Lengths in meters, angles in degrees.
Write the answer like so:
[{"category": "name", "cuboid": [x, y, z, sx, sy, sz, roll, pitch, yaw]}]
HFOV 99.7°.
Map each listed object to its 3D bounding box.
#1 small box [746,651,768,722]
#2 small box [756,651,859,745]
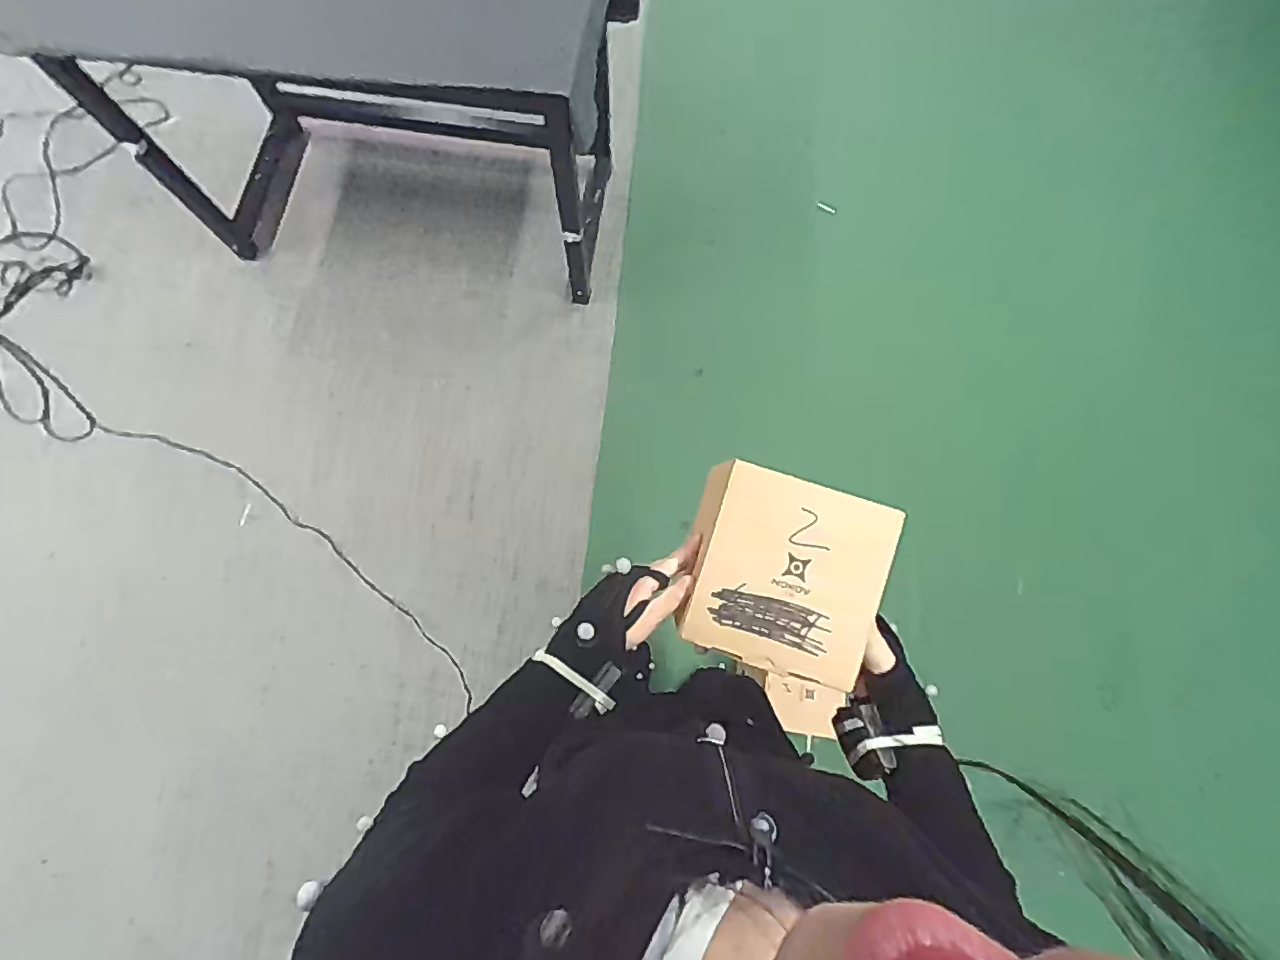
[{"category": "small box", "cuboid": [0.374, 0.536, 1.388, 0.179, 0.176, 0.168, 7, 73, 1]}, {"category": "small box", "cuboid": [0.376, 0.487, 1.230, 0.179, 0.176, 0.168, 9, 73, 2]}]
